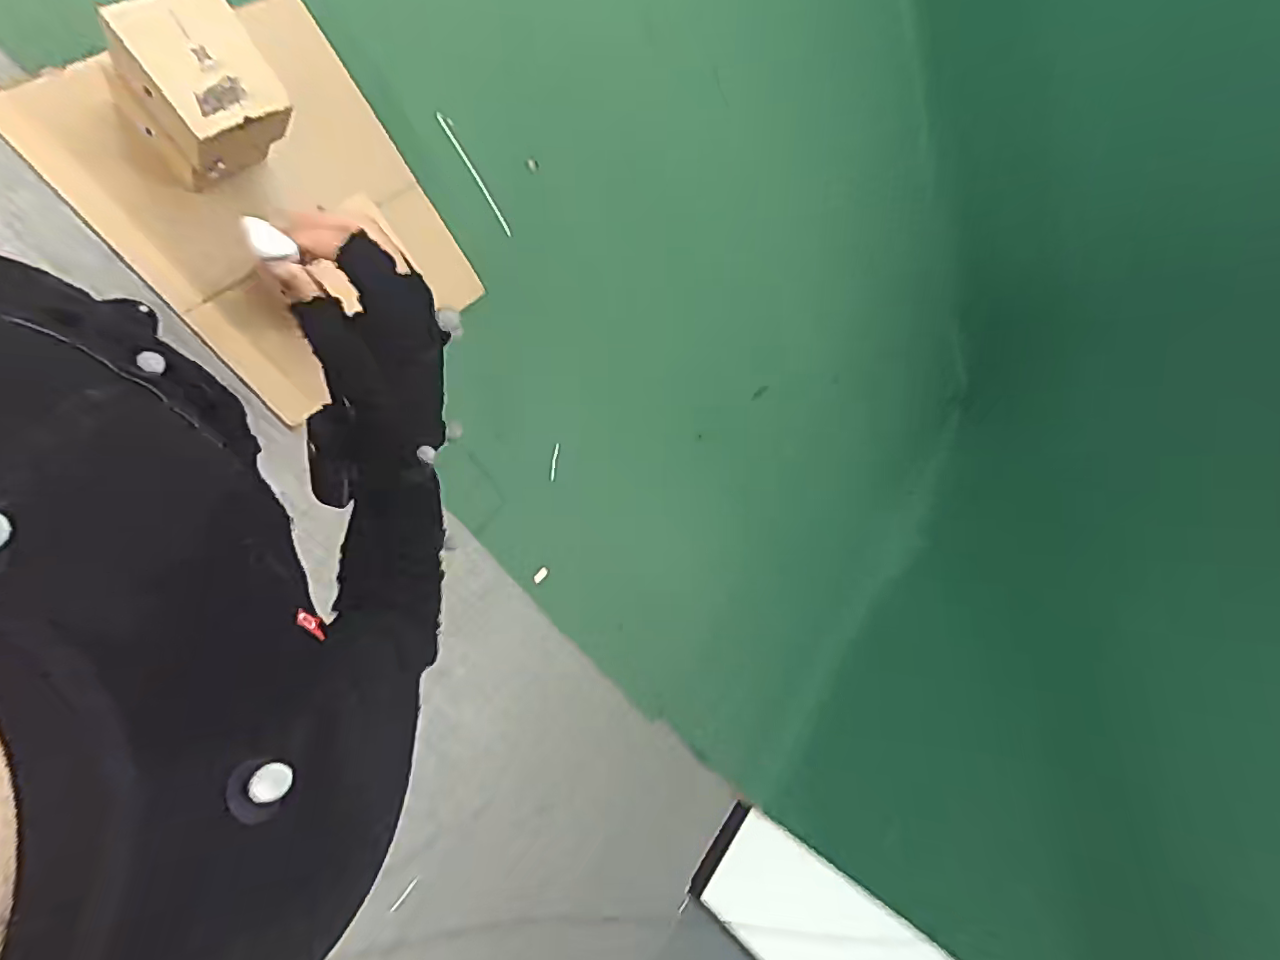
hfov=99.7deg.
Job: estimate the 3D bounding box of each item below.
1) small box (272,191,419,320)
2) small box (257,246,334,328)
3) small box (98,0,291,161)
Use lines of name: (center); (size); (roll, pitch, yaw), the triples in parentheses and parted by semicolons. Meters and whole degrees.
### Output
small box: (-0.578, -0.431, 1.057); (0.179, 0.176, 0.168); (-46, 124, -24)
small box: (-0.693, -0.450, 1.177); (0.179, 0.176, 0.168); (-47, 125, -22)
small box: (-0.717, -0.655, 0.888); (0.168, 0.176, 0.179); (-44, 122, -25)
